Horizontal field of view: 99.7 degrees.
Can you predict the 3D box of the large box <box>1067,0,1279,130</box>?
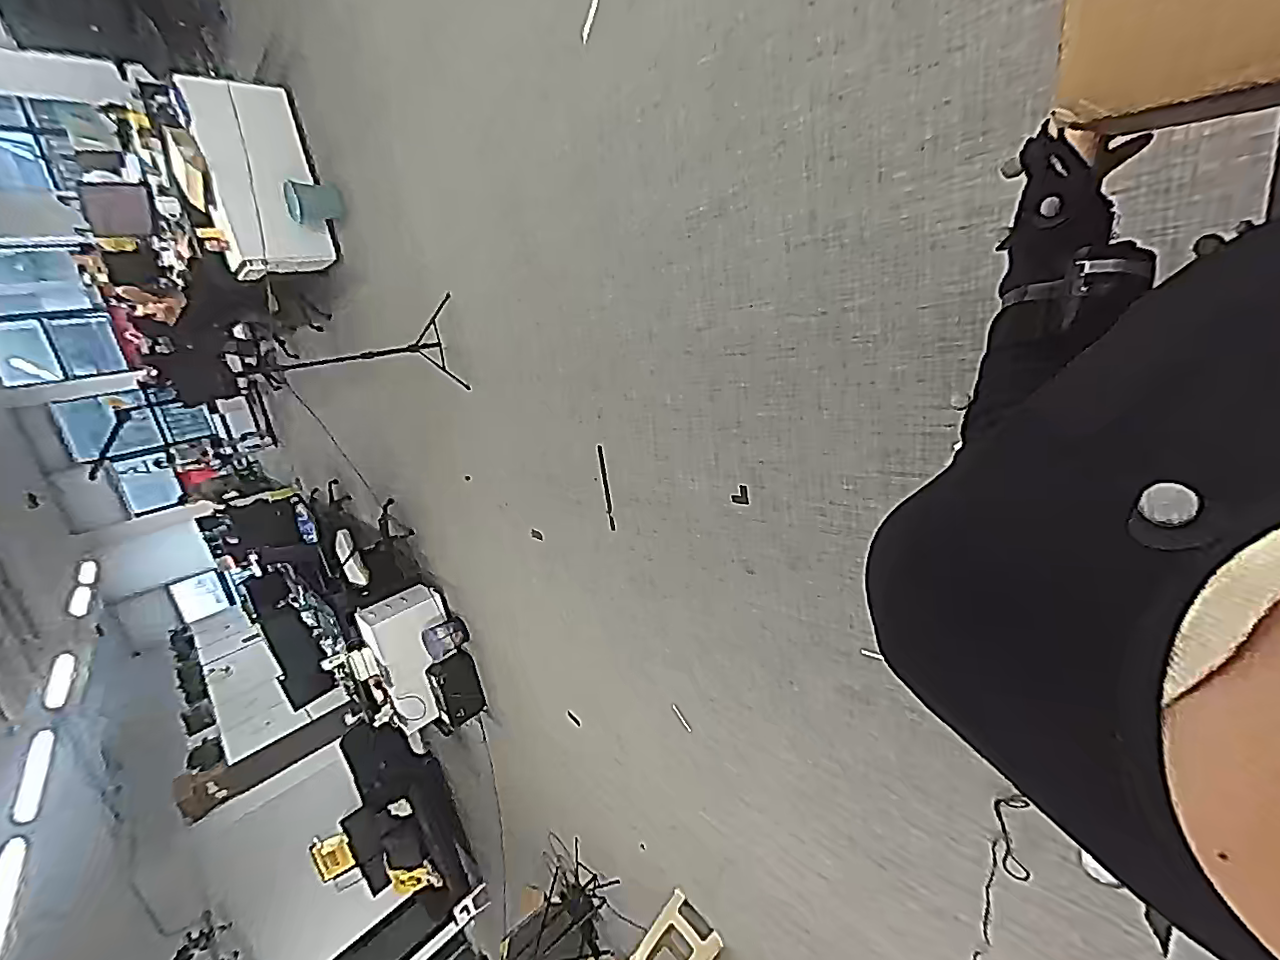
[{"bbox_3d":[0.405,-0.335,0.154,0.408,0.320,0.320,11,121,40],"label":"large box"}]
